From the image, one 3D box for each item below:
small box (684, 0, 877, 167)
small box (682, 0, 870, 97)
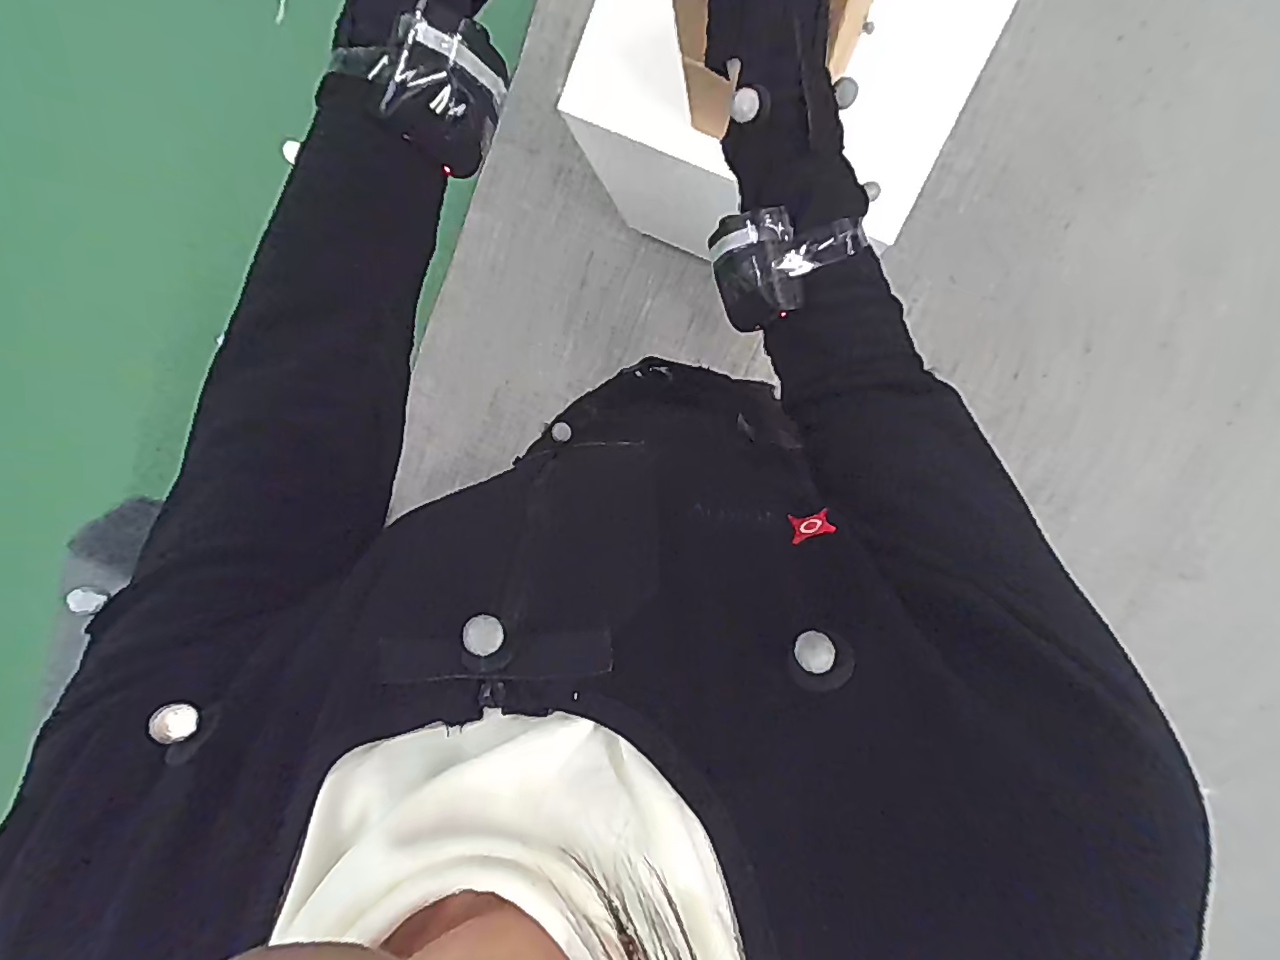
[{"bbox_3d":[0.166,-0.511,0.634,0.168,0.176,0.179,24,103,7],"label":"small box"},{"bbox_3d":[0.136,-0.492,0.474,0.168,0.176,0.179,22,100,7],"label":"small box"}]
